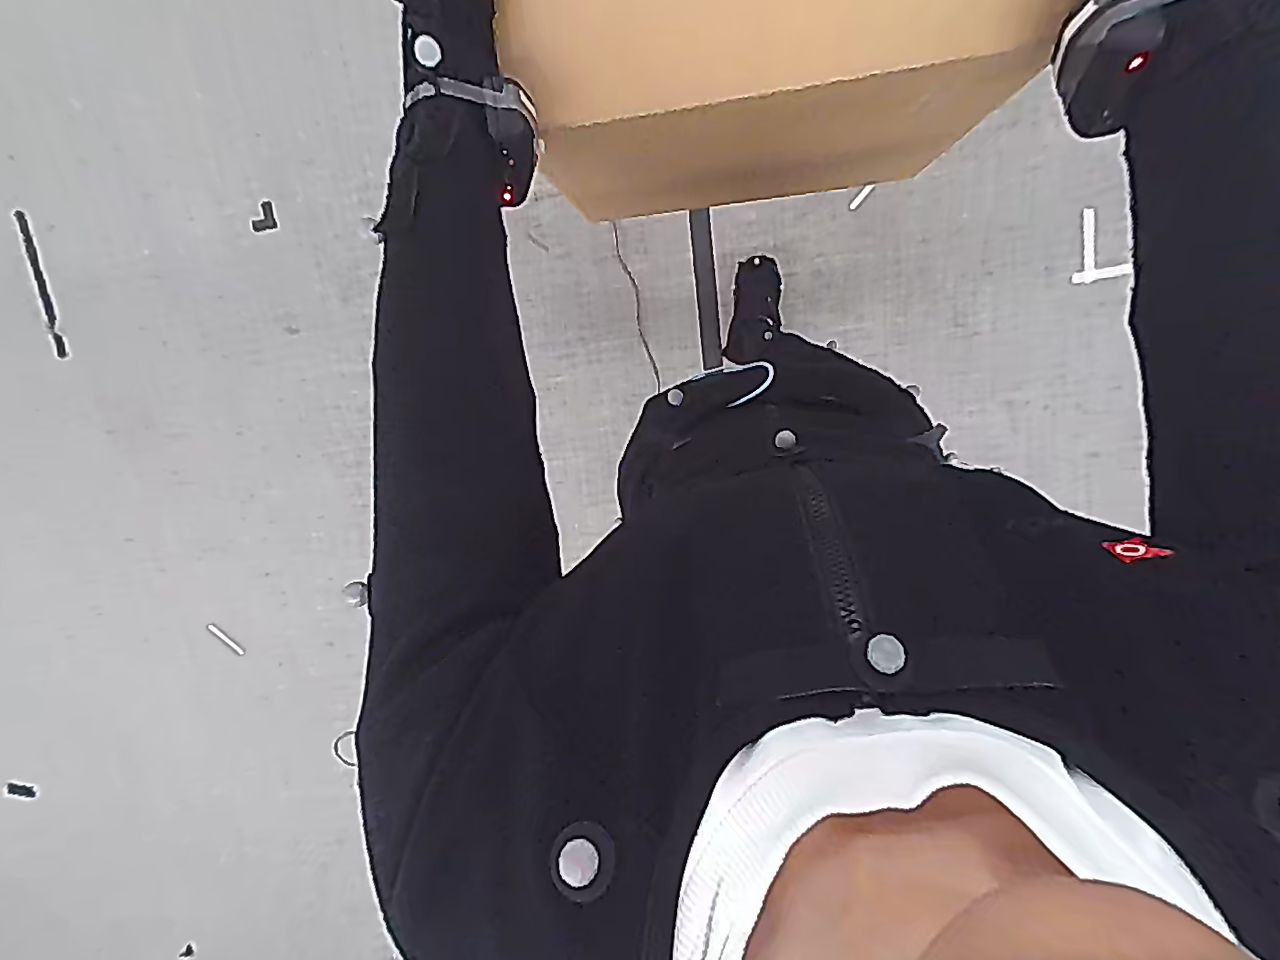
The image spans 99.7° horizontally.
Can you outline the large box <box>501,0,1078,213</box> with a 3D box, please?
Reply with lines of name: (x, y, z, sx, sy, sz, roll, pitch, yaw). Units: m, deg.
large box: (0.097, -0.476, 0.501, 0.408, 0.320, 0.320, -5, 104, 8)
